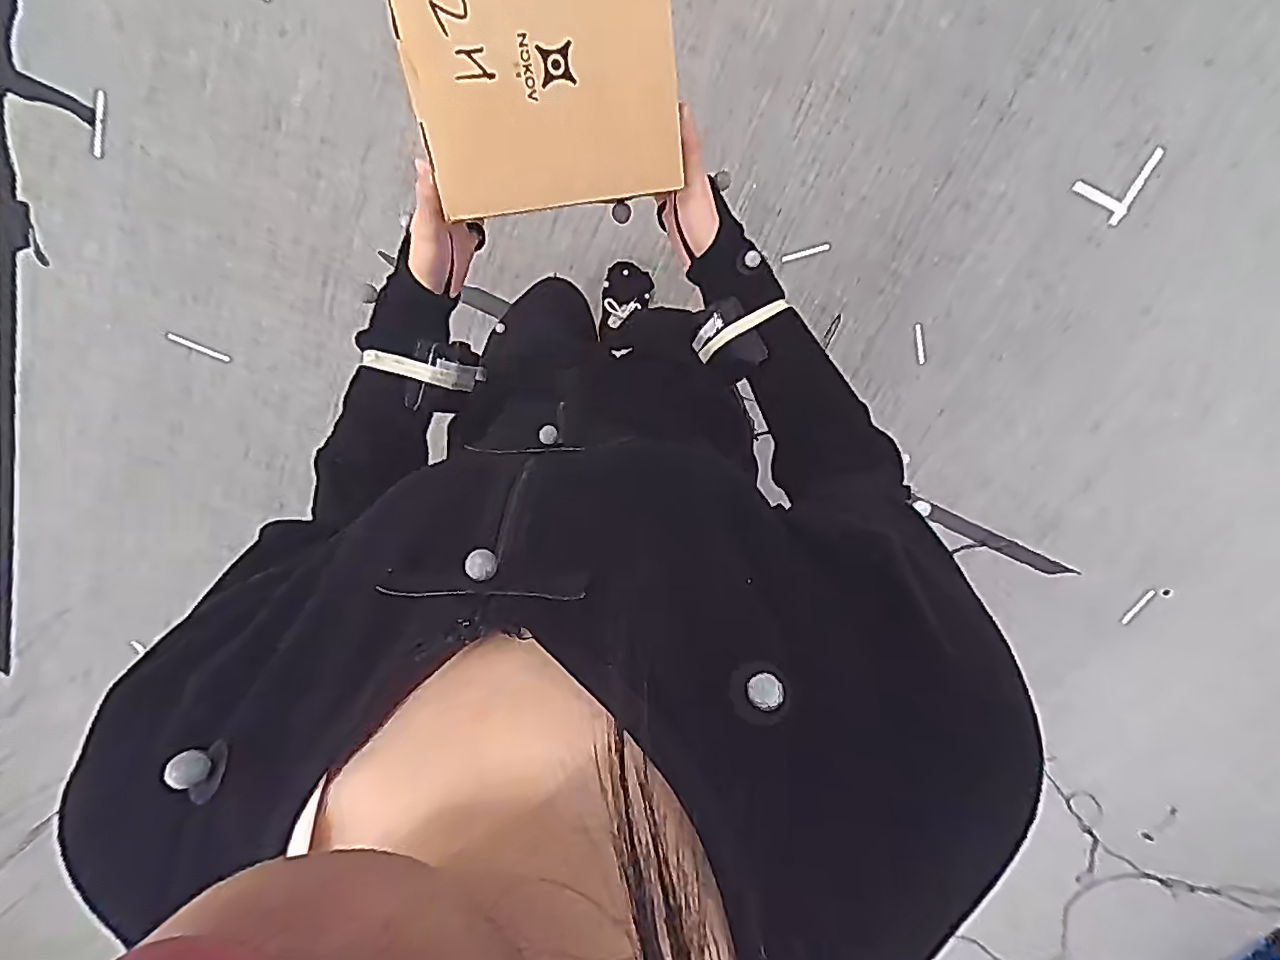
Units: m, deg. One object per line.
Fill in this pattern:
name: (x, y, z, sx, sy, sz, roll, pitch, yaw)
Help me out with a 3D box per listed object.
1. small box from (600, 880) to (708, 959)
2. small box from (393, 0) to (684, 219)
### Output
small box: (0.028, 0.933, 1.064, 0.179, 0.176, 0.168, 21, 110, -9)
small box: (-0.071, -0.307, 0.422, 0.179, 0.176, 0.168, -9, 117, -2)
